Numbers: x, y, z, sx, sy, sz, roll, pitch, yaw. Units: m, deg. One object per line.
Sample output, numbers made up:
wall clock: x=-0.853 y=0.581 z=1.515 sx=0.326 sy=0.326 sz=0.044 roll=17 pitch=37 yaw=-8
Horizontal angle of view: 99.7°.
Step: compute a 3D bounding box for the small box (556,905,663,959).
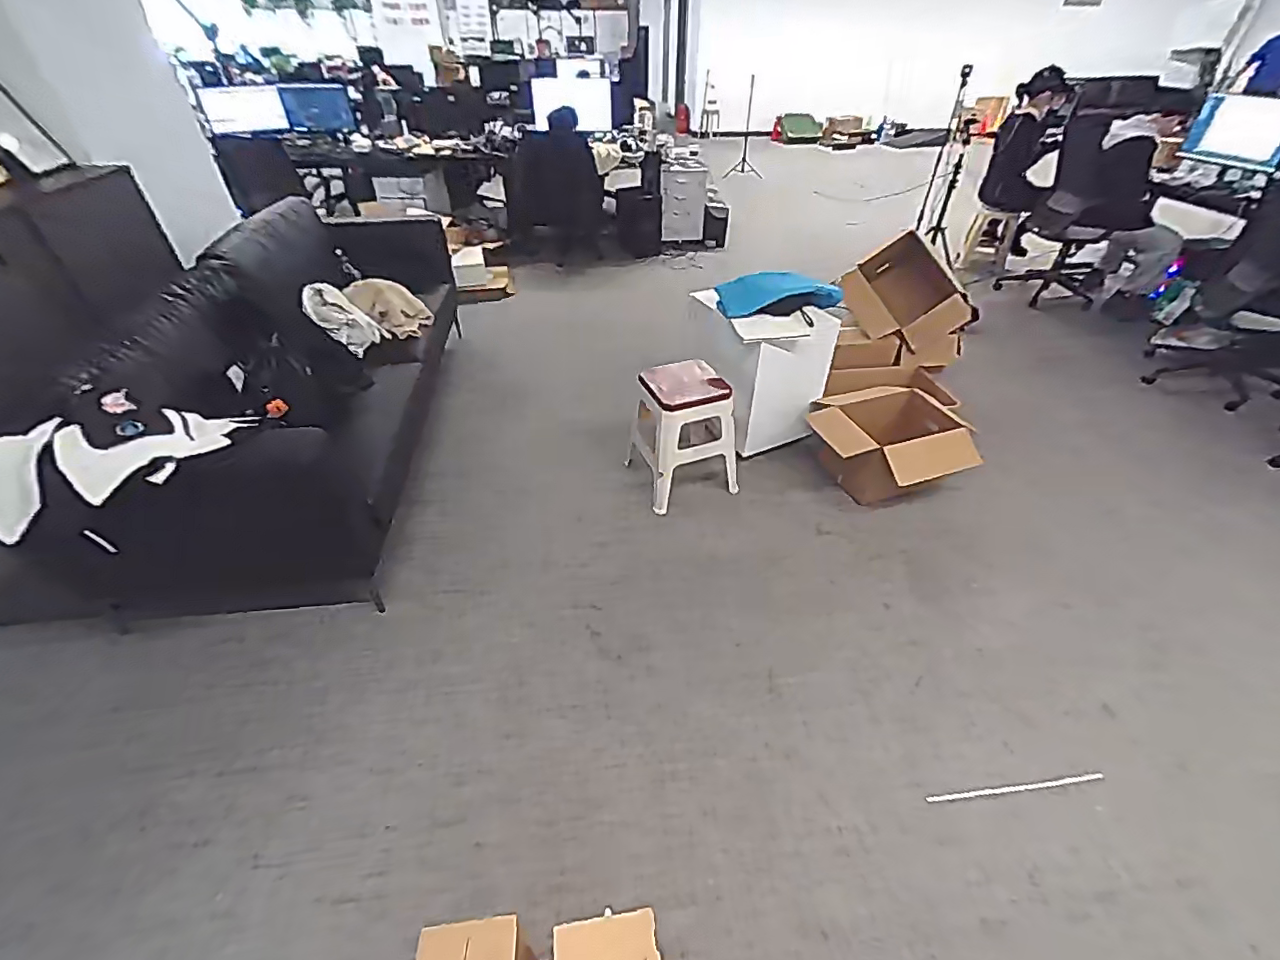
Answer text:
small box: x=-0.046 y=0.862 z=0.925 sx=0.179 sy=0.176 sz=0.168 roll=-5 pitch=41 yaw=-7
